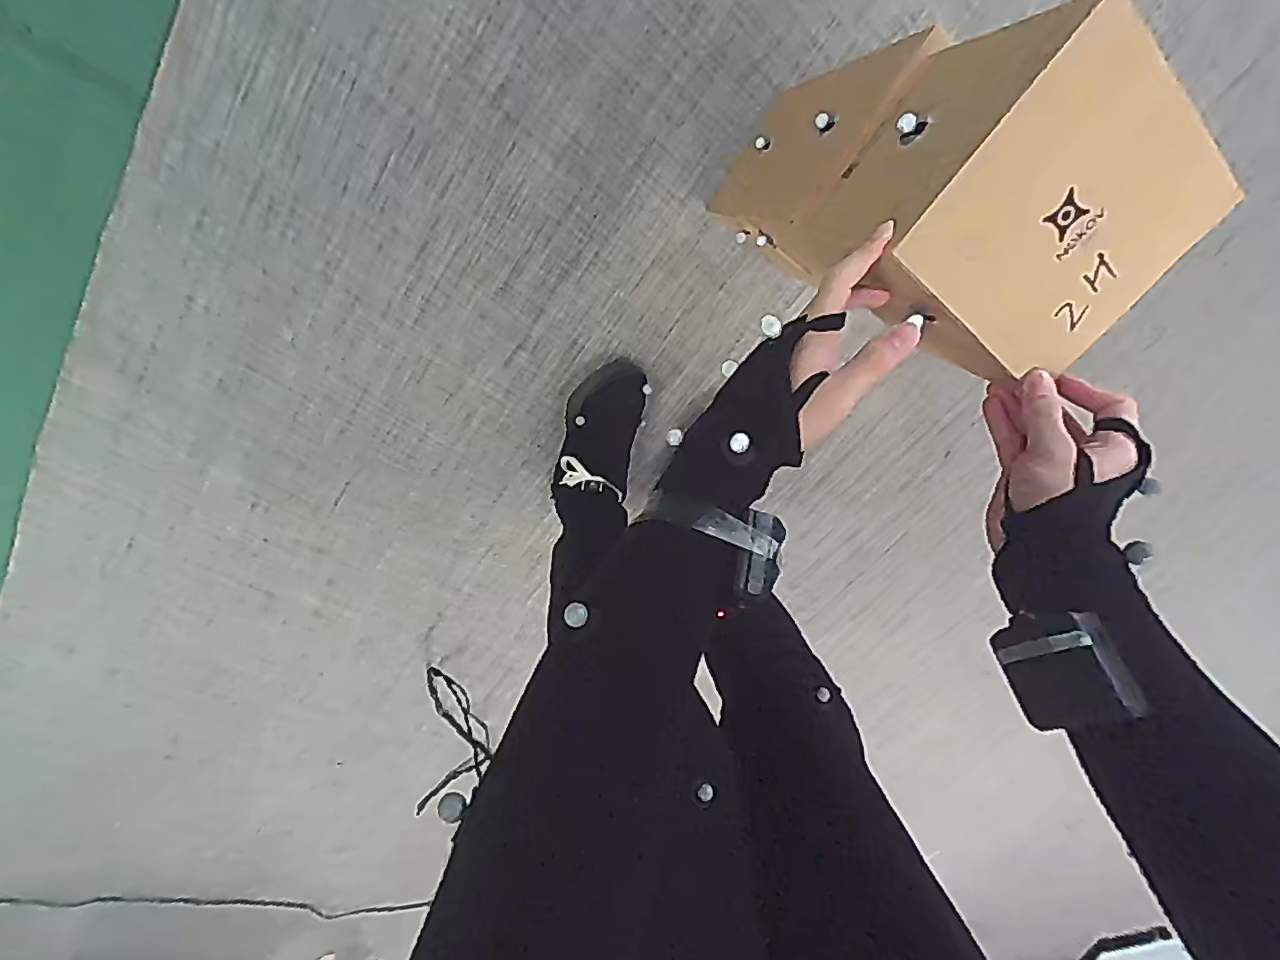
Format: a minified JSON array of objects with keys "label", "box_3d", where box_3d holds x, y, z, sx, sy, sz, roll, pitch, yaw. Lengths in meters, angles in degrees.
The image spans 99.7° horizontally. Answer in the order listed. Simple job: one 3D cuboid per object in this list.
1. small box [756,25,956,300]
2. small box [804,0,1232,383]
[{"label":"small box","box_3d":[0.241,-0.299,0.556,0.168,0.176,0.179,29,110,-21]},{"label":"small box","box_3d":[0.262,-0.207,0.418,0.179,0.176,0.168,30,110,-22]}]
